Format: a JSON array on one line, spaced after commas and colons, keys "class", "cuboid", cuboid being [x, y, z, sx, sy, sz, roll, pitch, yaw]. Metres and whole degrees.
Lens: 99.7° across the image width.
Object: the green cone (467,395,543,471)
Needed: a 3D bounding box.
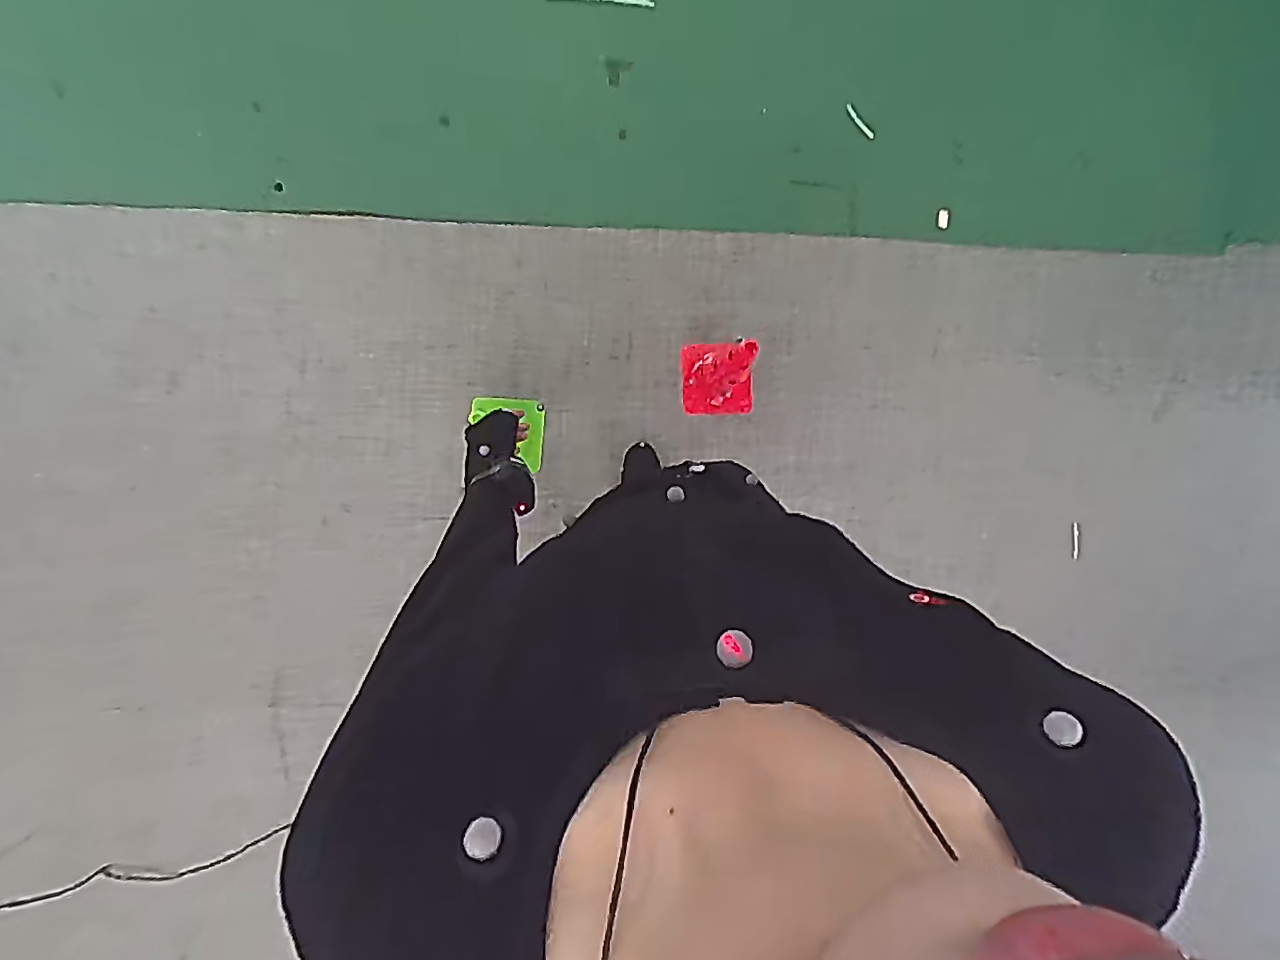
[{"class": "green cone", "cuboid": [-0.359, -0.128, 1.309, 0.200, 0.368, 0.202, 3, 90, -4]}]
